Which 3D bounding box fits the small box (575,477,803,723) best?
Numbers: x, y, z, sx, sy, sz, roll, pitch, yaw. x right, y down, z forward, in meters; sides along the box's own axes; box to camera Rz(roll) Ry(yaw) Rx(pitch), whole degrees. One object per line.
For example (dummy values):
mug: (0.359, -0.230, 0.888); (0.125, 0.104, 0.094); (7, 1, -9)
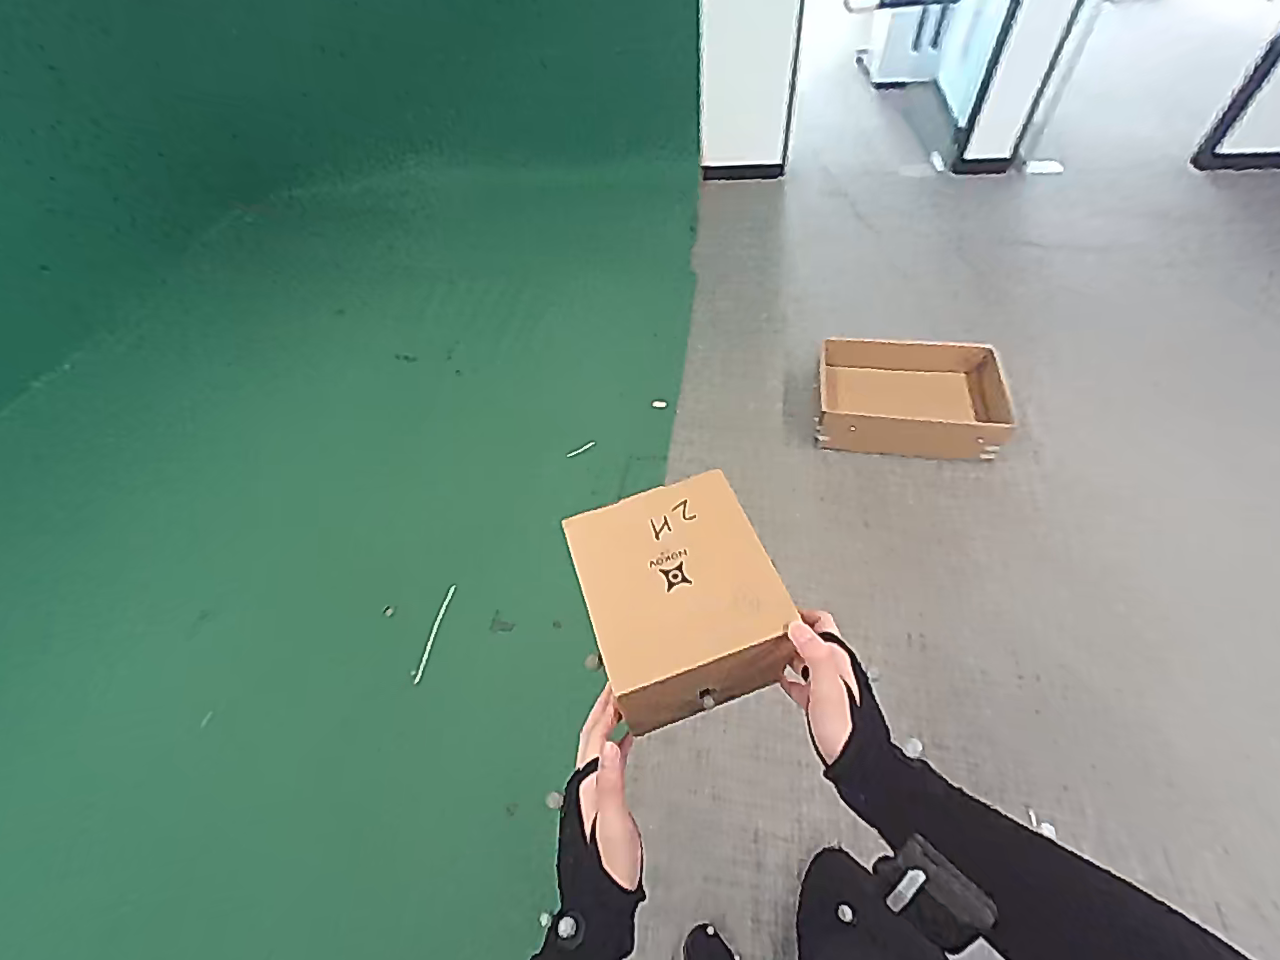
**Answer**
small box: (0.044, 0.131, 0.554); (0.168, 0.176, 0.179); (-17, 55, -6)
